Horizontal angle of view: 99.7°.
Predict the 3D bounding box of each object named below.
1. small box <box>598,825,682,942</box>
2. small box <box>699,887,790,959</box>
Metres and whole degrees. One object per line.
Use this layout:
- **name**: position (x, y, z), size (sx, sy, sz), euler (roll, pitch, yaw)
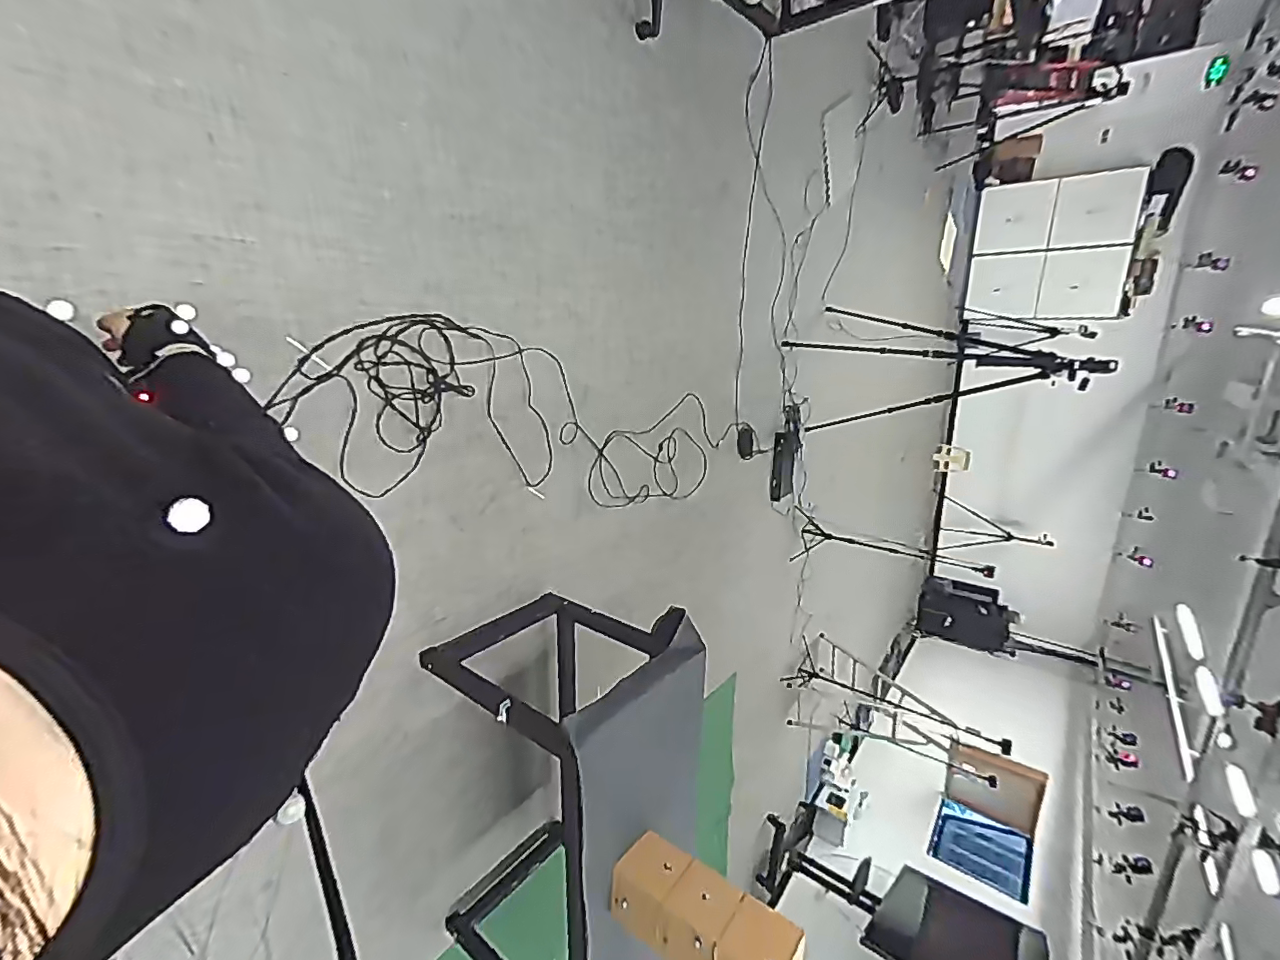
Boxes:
- **small box**: position (0.001, 1.153, 1.565), size (0.179, 0.176, 0.168), euler (-10, 107, -52)
- **small box**: position (0.264, 1.203, 1.378), size (0.179, 0.176, 0.168), euler (-17, 113, -51)
